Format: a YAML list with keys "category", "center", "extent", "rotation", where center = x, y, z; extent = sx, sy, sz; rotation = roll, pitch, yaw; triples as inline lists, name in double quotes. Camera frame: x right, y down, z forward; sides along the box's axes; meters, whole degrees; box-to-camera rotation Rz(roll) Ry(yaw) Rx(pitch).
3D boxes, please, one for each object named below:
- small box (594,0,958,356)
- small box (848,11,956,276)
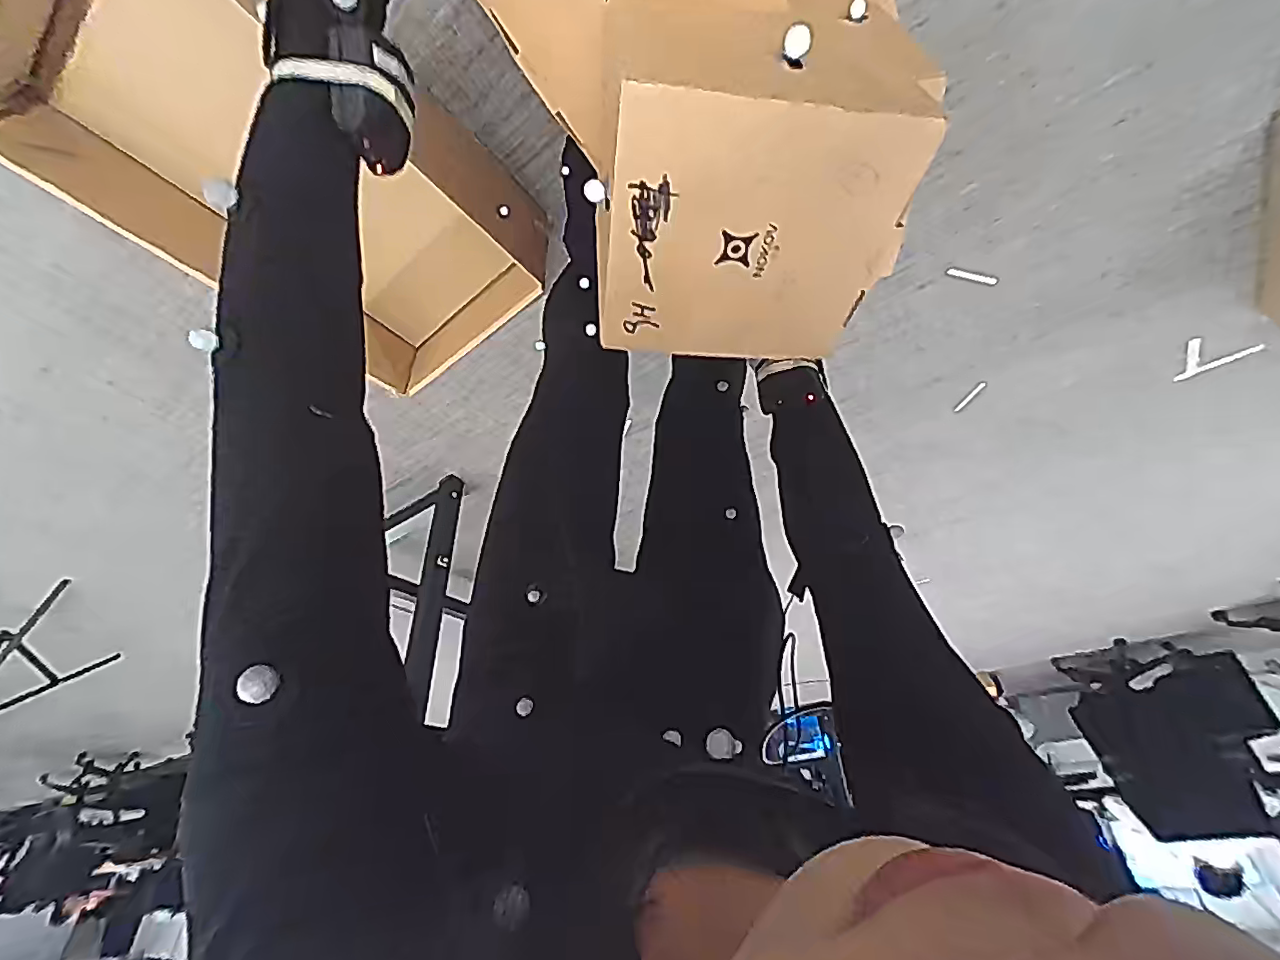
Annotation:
- category: "small box"
  center: [0.062, -0.206, 0.371]
  extent: [0.179, 0.176, 0.168]
  rotation: [1, 143, -8]
- category: "small box"
  center: [0.157, -0.310, 0.514]
  extent: [0.168, 0.176, 0.179]
  rotation: [-6, 145, 4]
